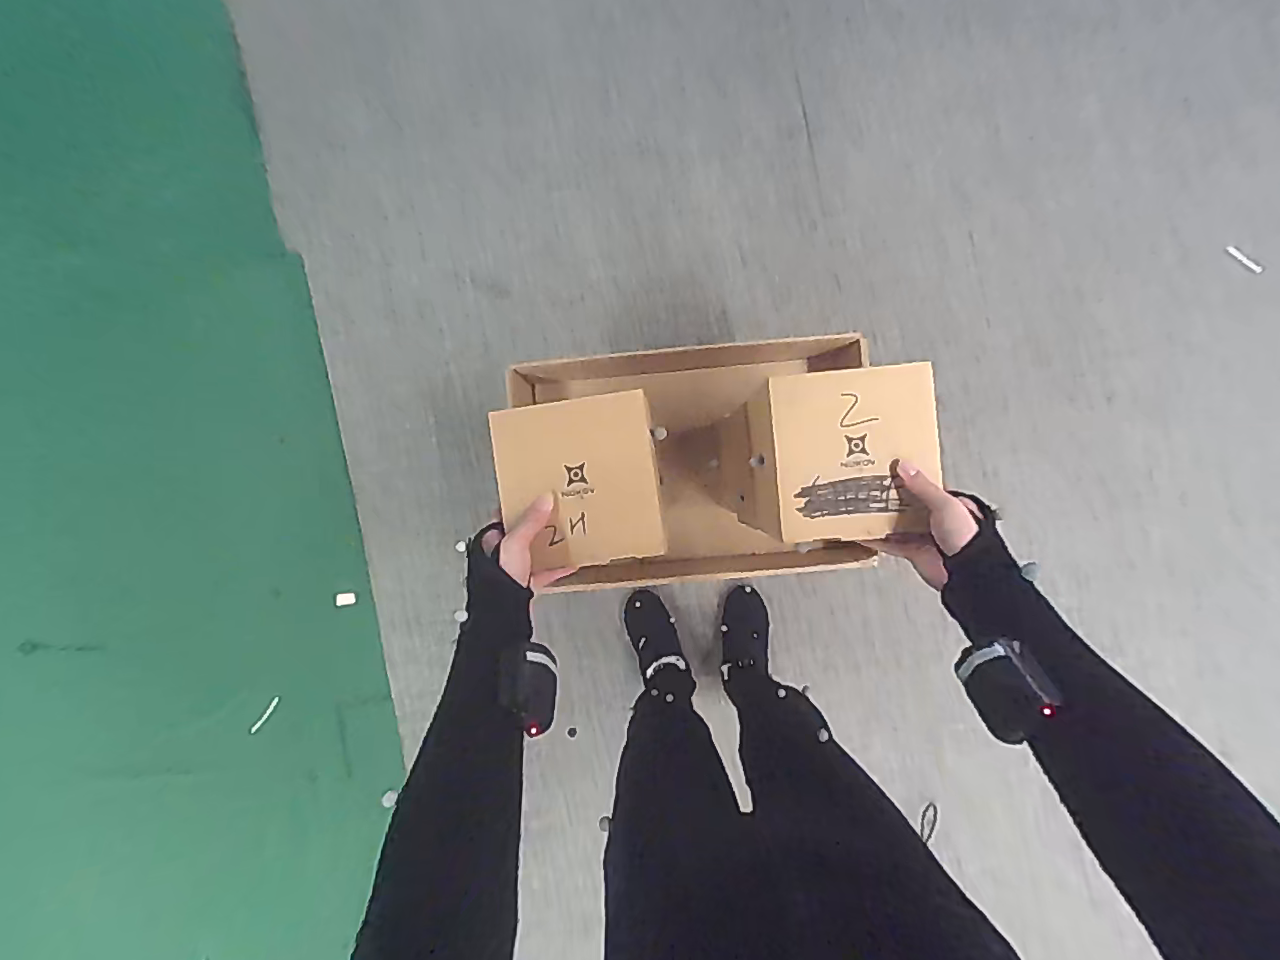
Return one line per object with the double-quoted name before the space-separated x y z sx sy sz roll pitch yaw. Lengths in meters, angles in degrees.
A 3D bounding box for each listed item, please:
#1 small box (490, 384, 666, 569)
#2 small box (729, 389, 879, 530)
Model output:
"small box" -0.062 -0.002 0.631 0.168 0.176 0.179 -8 90 3
"small box" 0.227 -0.027 0.786 0.168 0.176 0.179 -5 89 1
